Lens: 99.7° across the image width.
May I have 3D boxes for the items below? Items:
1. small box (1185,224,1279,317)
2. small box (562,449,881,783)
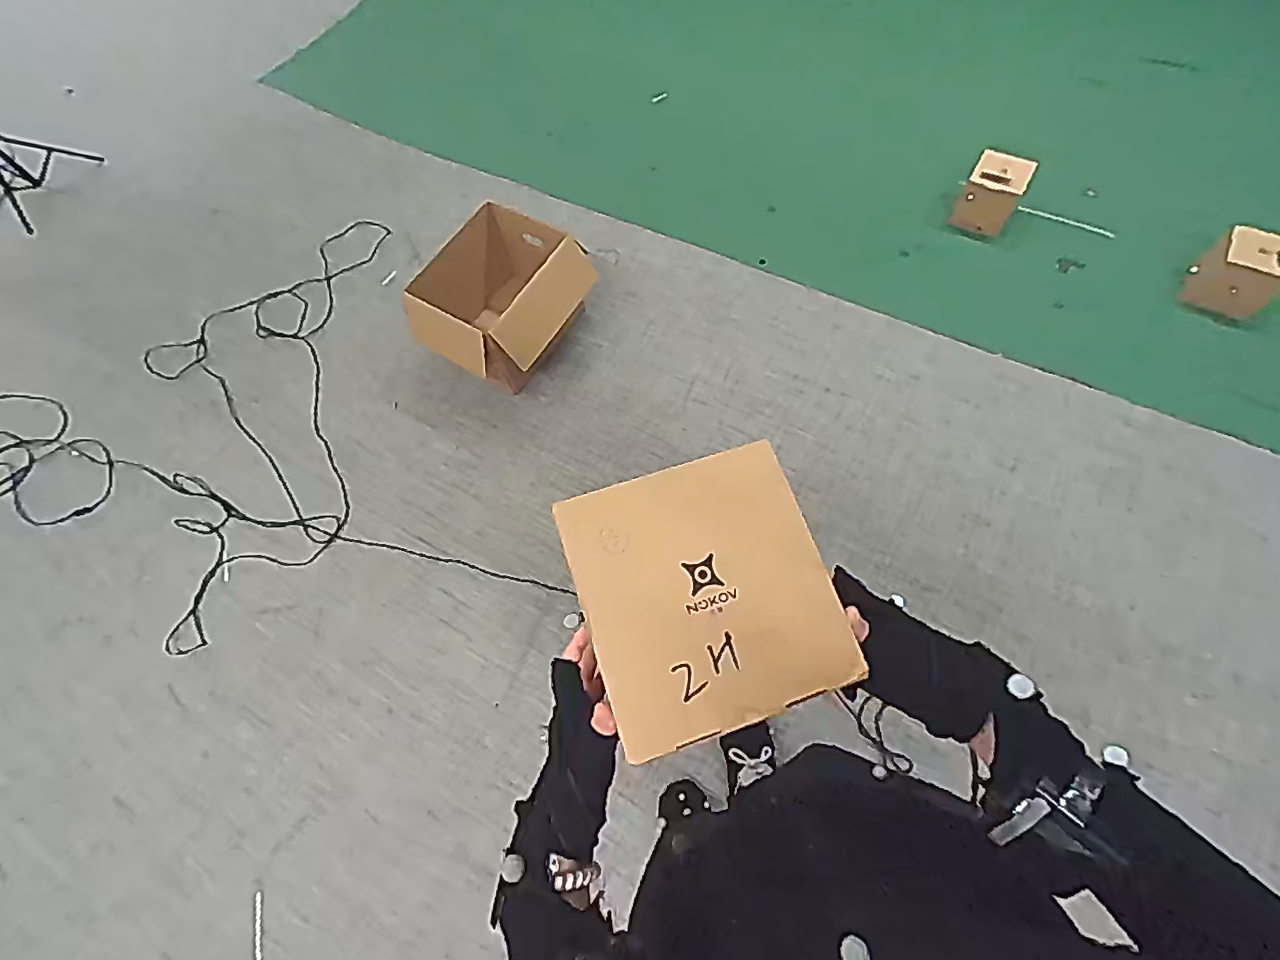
[{"bbox_3d":[1.797,-0.614,1.604,0.179,0.176,0.168,28,71,16],"label":"small box"},{"bbox_3d":[0.043,0.101,0.423,0.168,0.176,0.179,-17,75,-8],"label":"small box"}]
